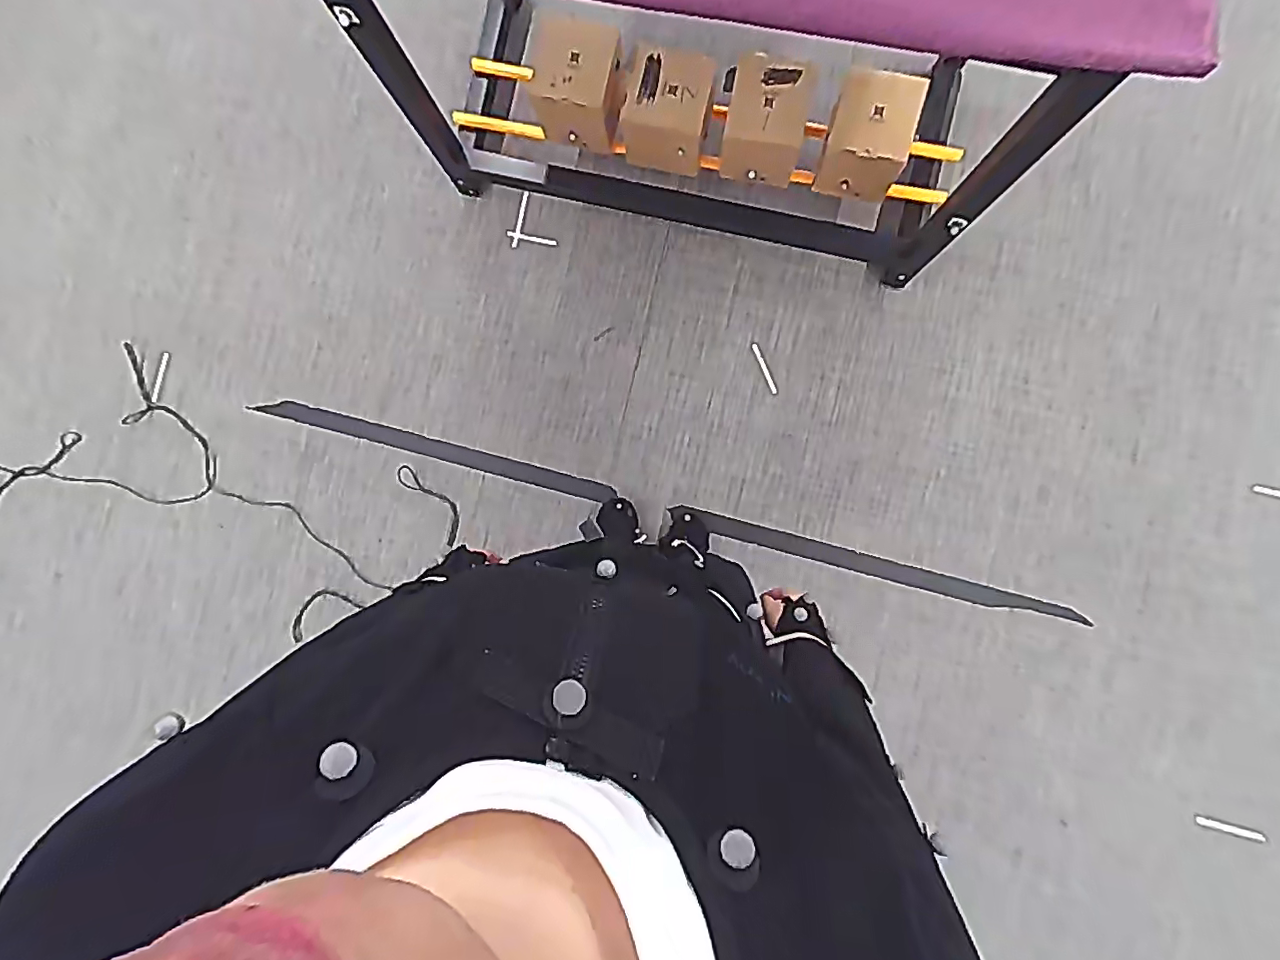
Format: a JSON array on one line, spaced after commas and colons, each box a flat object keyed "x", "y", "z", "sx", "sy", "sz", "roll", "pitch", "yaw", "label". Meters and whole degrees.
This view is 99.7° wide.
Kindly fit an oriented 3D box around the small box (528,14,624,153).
[{"x": -0.137, "y": -0.889, "z": 1.226, "sx": 0.168, "sy": 0.176, "sz": 0.179, "roll": 14, "pitch": 91, "yaw": 4, "label": "small box"}]

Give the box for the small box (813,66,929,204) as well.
[{"x": 0.493, "y": -0.744, "z": 1.181, "sx": 0.168, "sy": 0.176, "sz": 0.179, "roll": 16, "pitch": 91, "yaw": 5, "label": "small box"}]

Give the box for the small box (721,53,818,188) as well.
[{"x": 0.278, "y": -0.788, "z": 1.200, "sx": 0.168, "sy": 0.176, "sz": 0.179, "roll": 12, "pitch": 92, "yaw": 5, "label": "small box"}]
